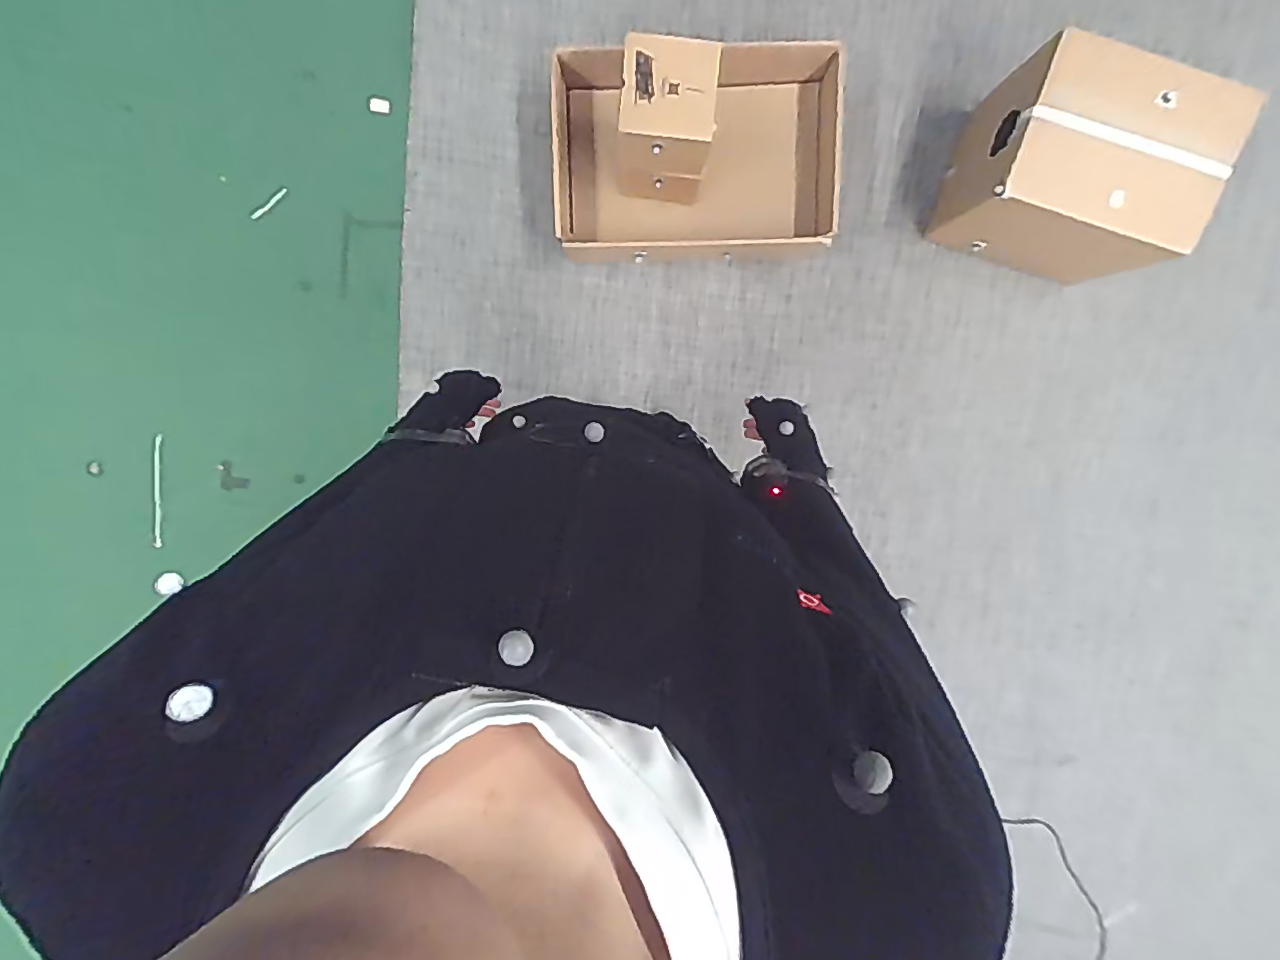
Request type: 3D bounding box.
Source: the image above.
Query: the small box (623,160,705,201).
[{"bbox_3d":[0.057,-0.749,1.217,0.179,0.176,0.168,6,100,-2],"label":"small box"}]

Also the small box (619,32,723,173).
[{"bbox_3d":[0.055,-0.723,1.055,0.179,0.176,0.168,5,100,-2],"label":"small box"}]
